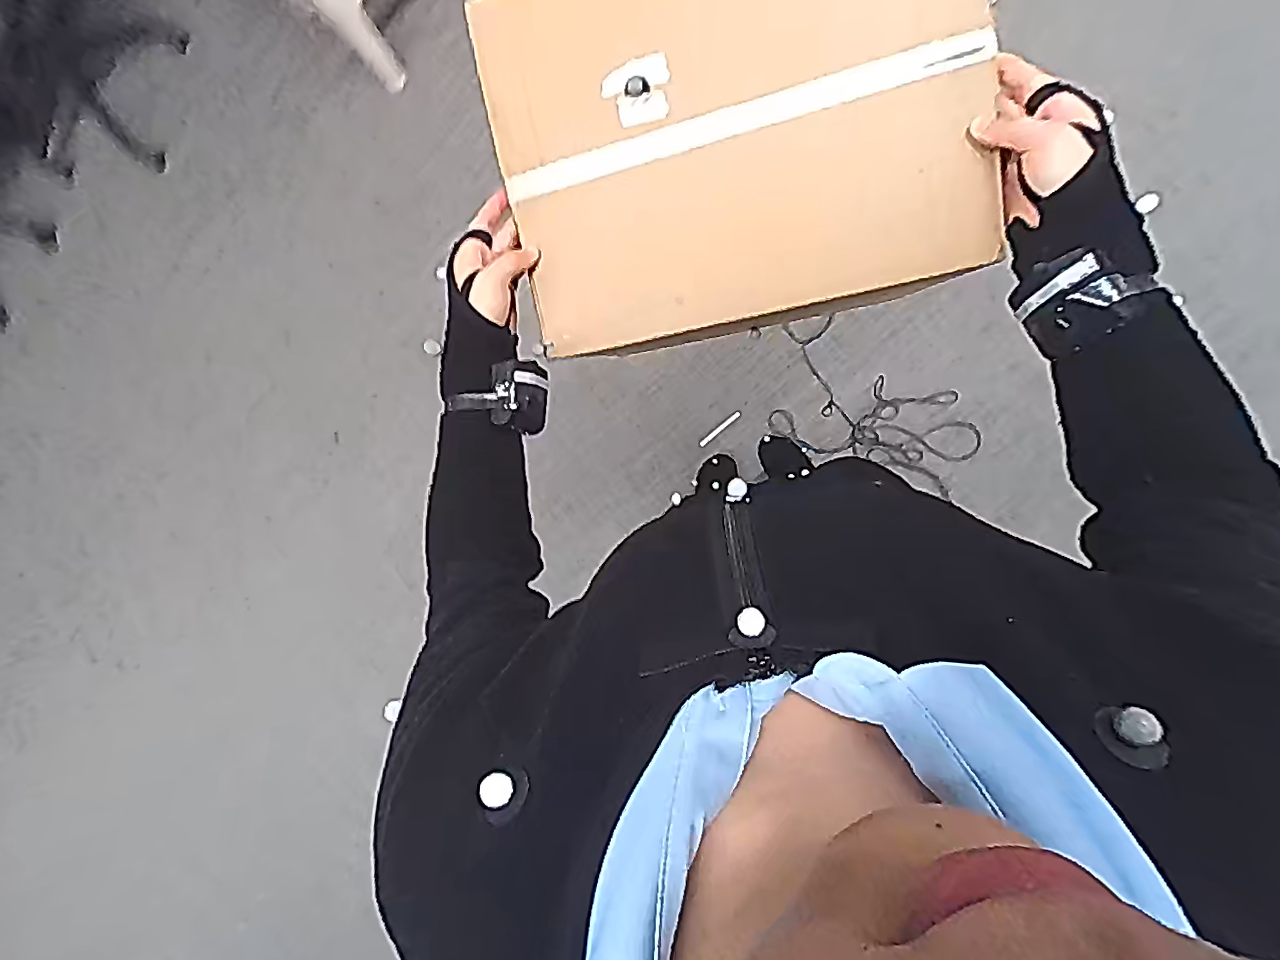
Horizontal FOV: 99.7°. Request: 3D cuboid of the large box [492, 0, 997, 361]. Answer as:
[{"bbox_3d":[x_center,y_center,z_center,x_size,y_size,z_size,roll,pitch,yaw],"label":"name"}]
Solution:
[{"bbox_3d":[0.113,-0.333,0.615,0.408,0.320,0.320,-9,101,14],"label":"large box"}]
